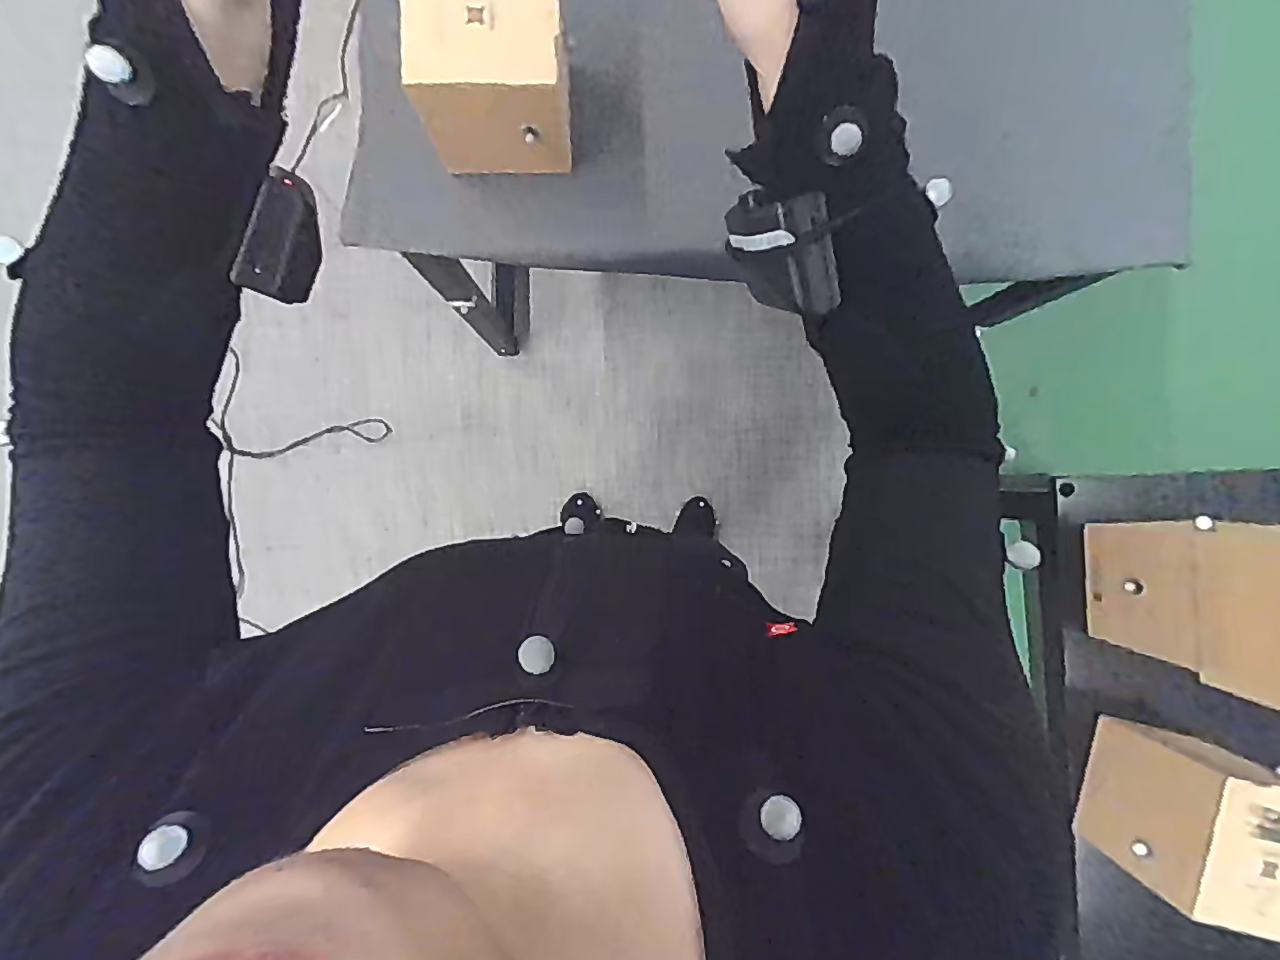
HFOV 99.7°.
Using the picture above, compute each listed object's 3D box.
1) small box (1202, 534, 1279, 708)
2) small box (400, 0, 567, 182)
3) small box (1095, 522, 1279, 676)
[{"bbox_3d":[0.730,0.150,0.544,0.168,0.176,0.179,-2,89,-1],"label":"small box"},{"bbox_3d":[-0.187,-0.510,0.695,0.179,0.176,0.168,-2,87,-1],"label":"small box"},{"bbox_3d":[0.742,0.145,0.707,0.179,0.176,0.168,-2,90,-2],"label":"small box"}]
